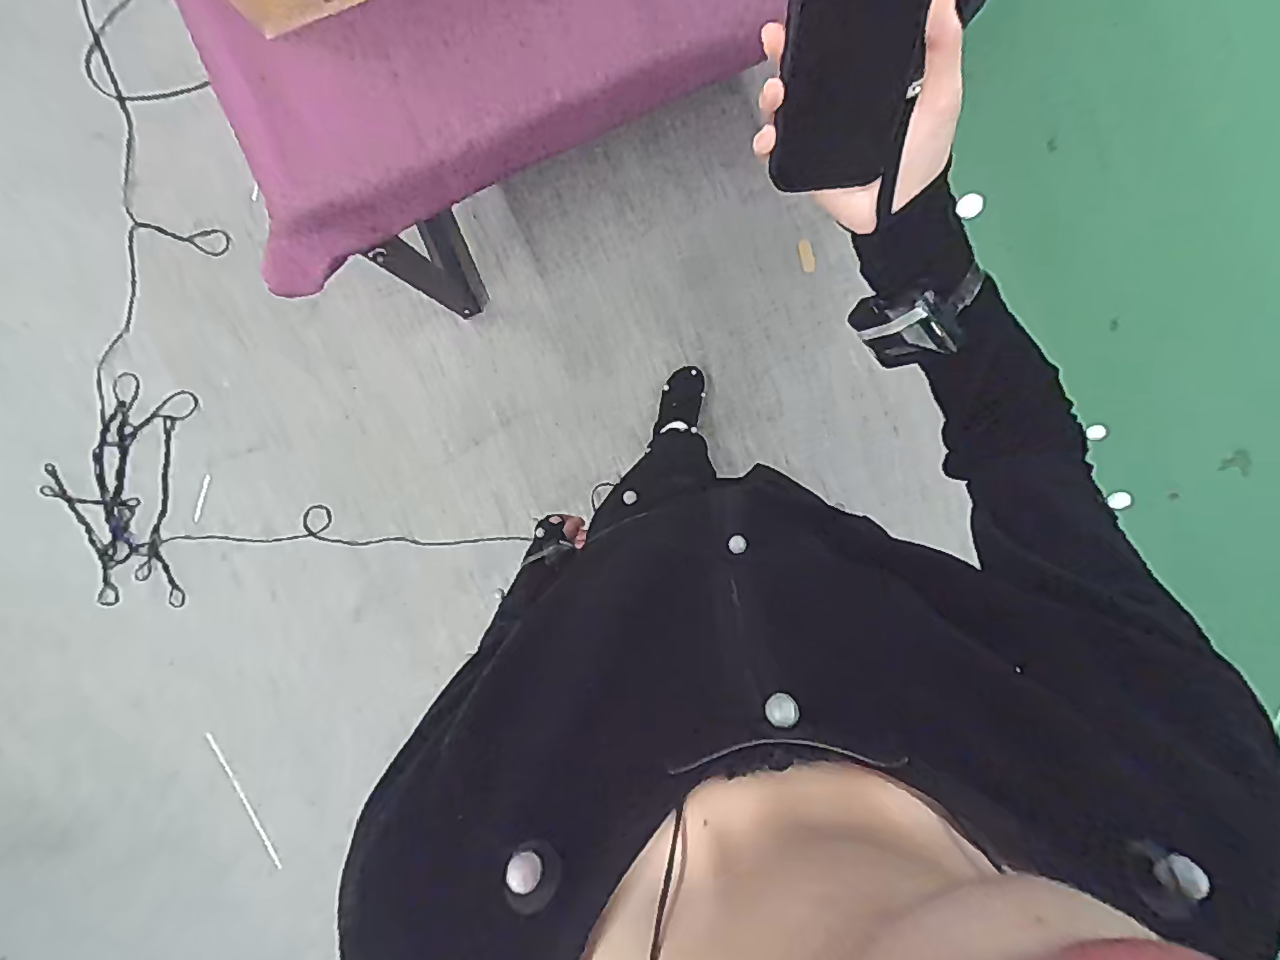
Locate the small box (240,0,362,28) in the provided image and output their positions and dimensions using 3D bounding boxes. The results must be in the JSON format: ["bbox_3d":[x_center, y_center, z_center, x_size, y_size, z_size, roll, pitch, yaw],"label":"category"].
[{"bbox_3d":[-0.452,-0.696,0.645,0.168,0.176,0.179,-20,93,4],"label":"small box"}]
